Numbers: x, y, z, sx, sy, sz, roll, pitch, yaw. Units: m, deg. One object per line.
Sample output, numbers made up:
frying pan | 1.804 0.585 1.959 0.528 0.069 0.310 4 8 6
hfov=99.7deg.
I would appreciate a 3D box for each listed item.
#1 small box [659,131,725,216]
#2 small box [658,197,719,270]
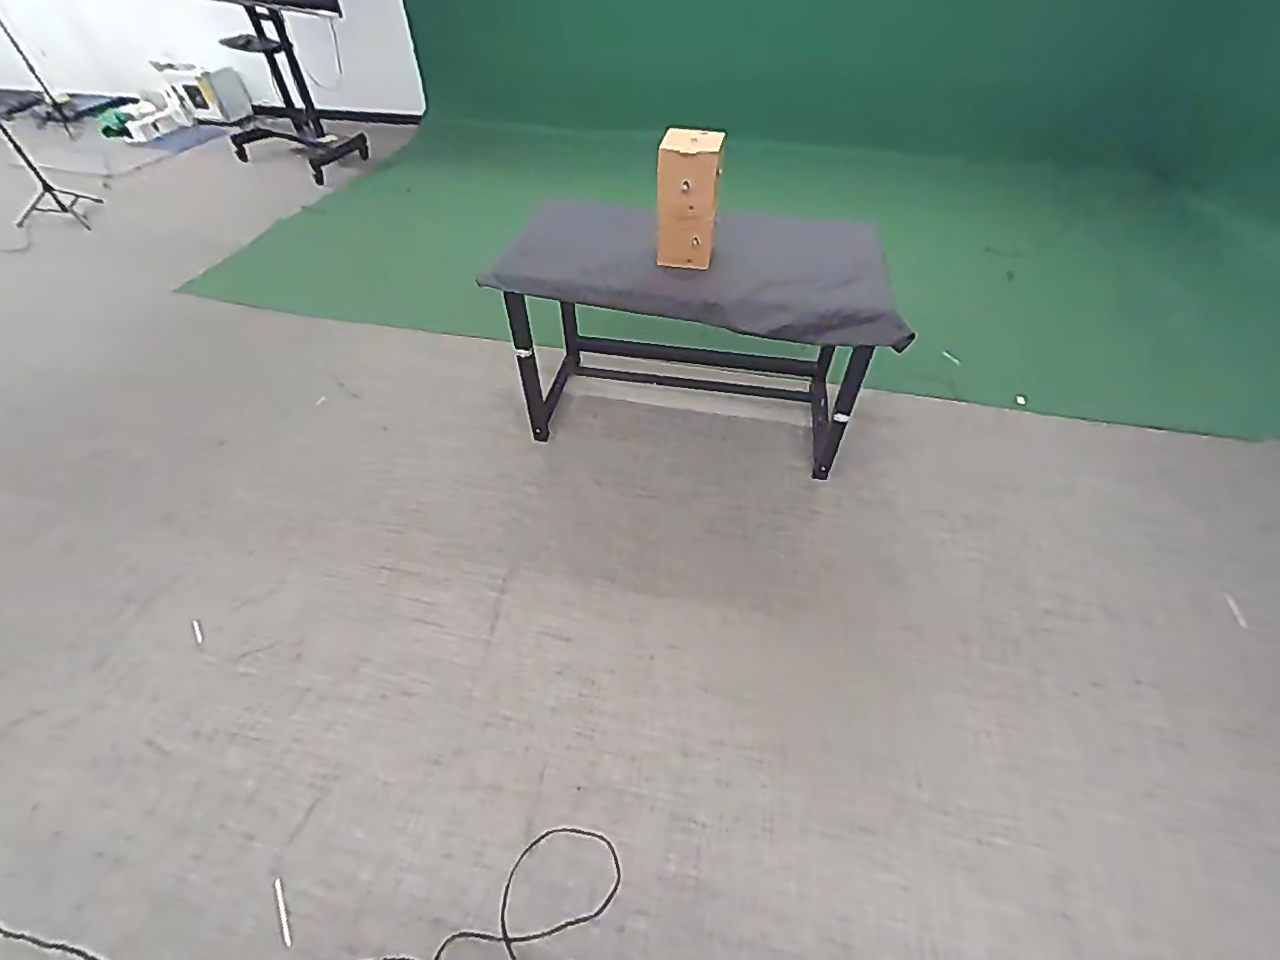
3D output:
small box | 0.150 -0.895 1.585 0.168 0.176 0.179 10 50 7
small box | 0.150 -0.783 1.705 0.168 0.176 0.179 9 48 6
